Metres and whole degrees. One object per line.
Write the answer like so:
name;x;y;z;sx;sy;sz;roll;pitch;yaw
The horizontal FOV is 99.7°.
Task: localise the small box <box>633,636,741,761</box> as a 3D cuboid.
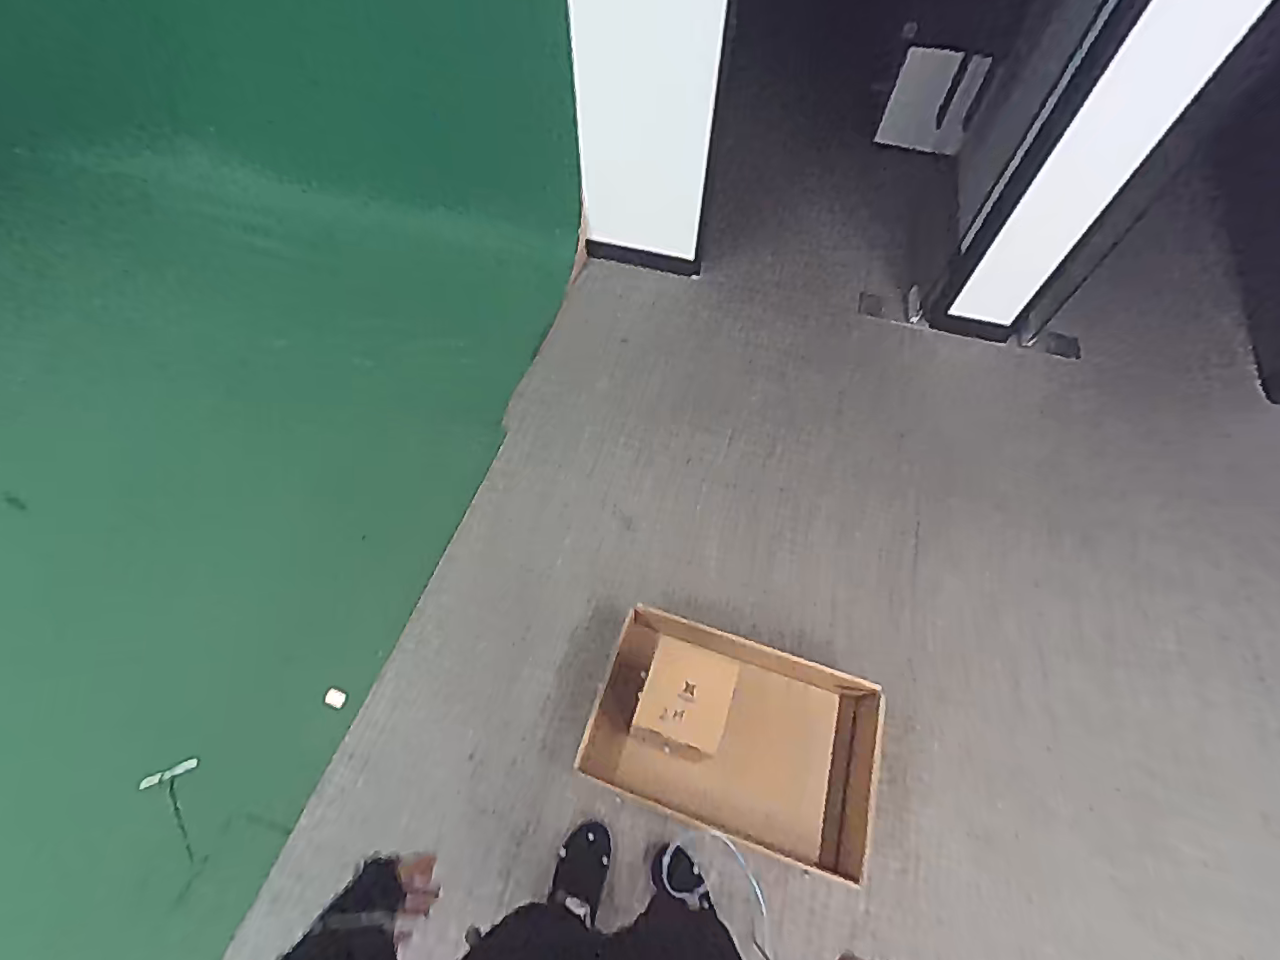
small box;0.090;0.448;1.101;0.168;0.176;0.179;19;62;11
